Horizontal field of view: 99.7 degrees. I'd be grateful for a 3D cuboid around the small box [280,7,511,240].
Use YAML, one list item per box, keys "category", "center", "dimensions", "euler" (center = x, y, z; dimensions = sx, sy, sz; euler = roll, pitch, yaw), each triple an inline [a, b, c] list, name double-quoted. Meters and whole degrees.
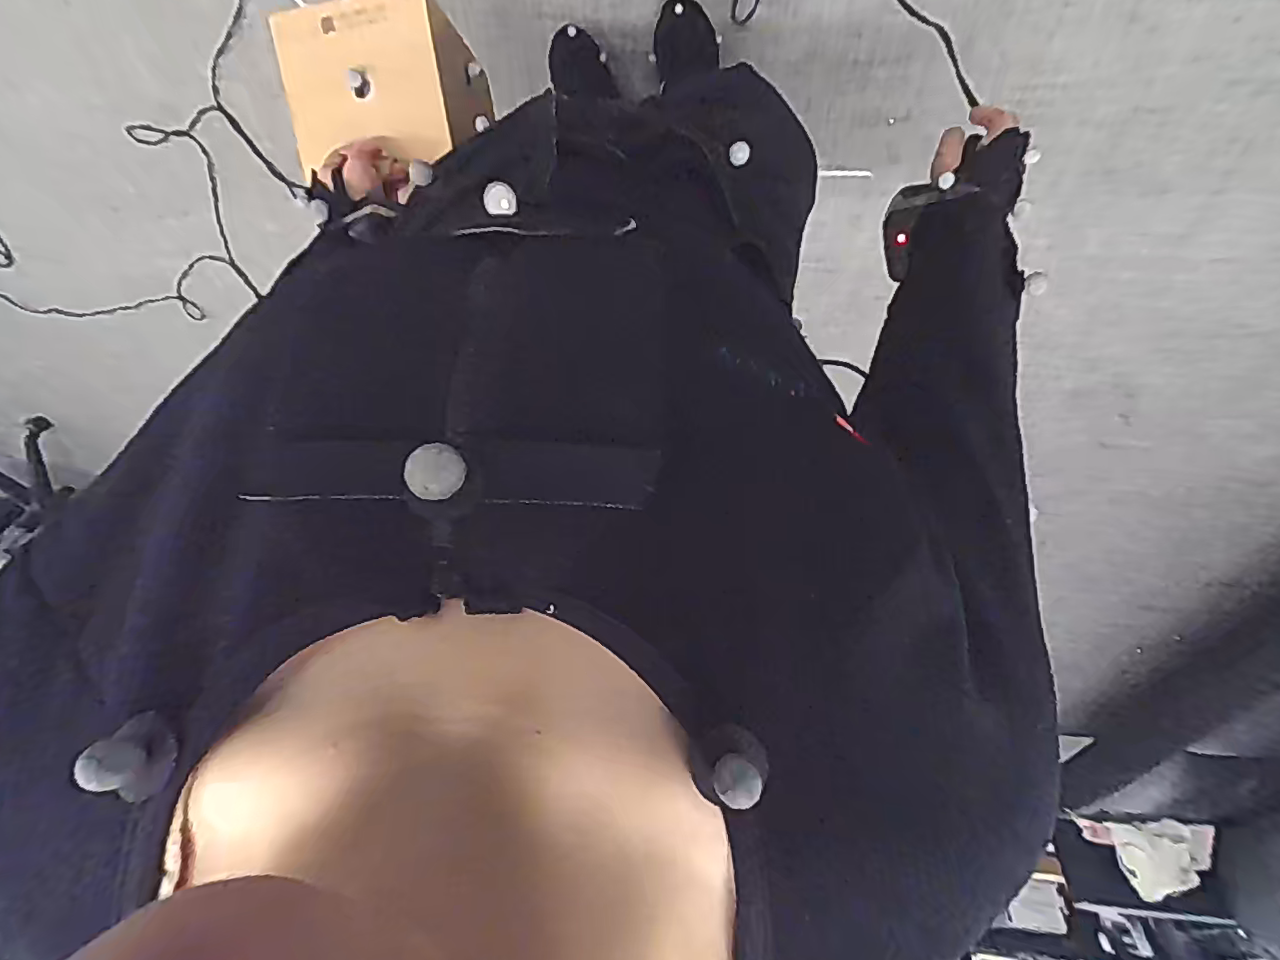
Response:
- category: "small box"
  center: [-0.271, -0.402, 0.628]
  dimensions: [0.168, 0.179, 0.176]
  euler: [-8, 101, 7]
